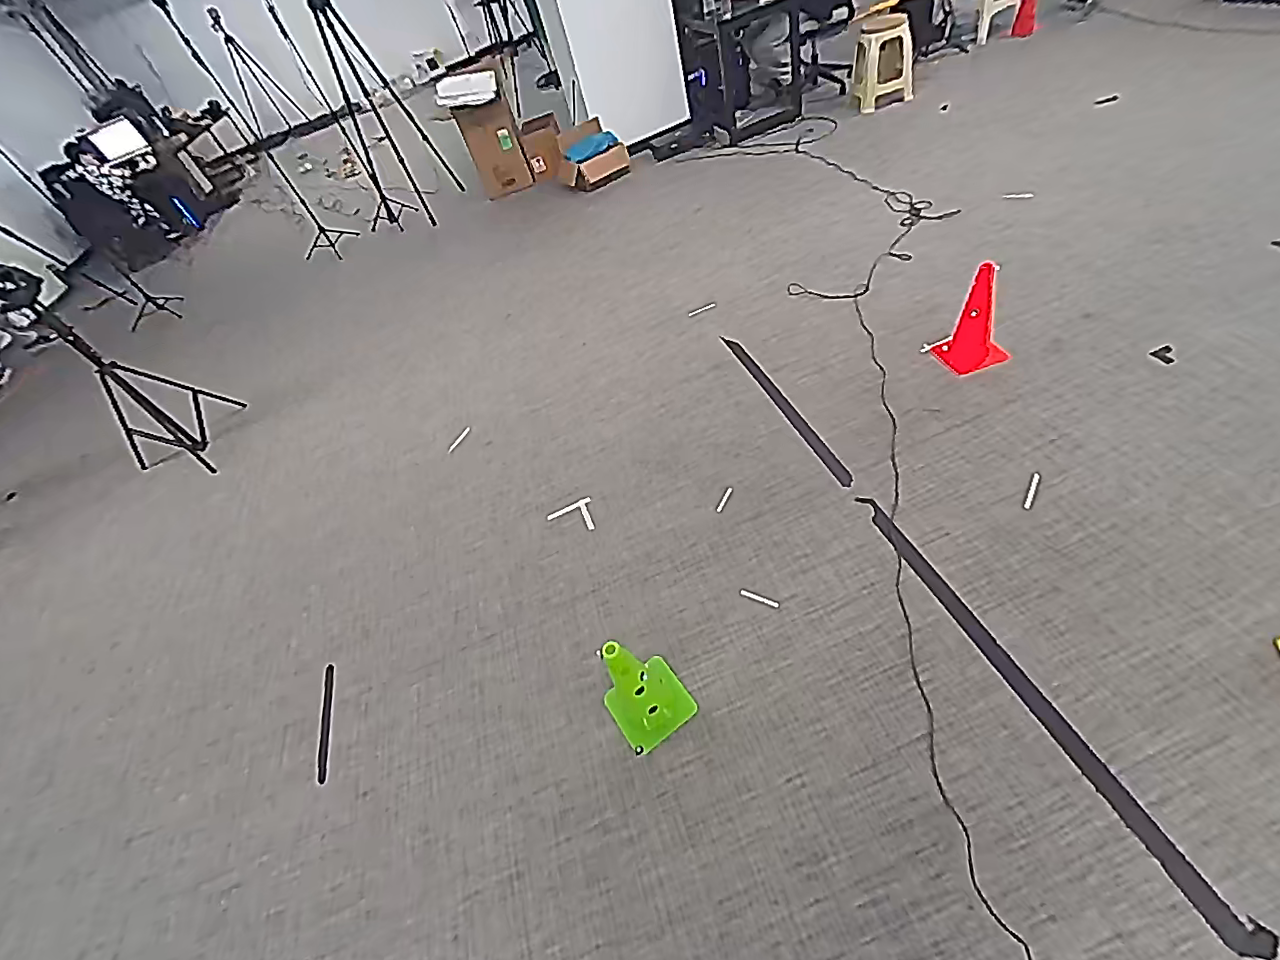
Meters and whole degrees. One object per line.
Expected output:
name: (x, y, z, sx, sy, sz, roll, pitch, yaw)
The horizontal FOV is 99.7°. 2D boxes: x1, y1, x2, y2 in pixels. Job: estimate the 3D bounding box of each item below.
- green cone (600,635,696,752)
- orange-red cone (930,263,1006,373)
green cone: (-0.019, 0.487, 1.344, 0.200, 0.368, 0.202, -35, 46, -13)
orange-red cone: (1.169, -0.584, 1.883, 0.198, 0.360, 0.199, -19, 47, 4)
